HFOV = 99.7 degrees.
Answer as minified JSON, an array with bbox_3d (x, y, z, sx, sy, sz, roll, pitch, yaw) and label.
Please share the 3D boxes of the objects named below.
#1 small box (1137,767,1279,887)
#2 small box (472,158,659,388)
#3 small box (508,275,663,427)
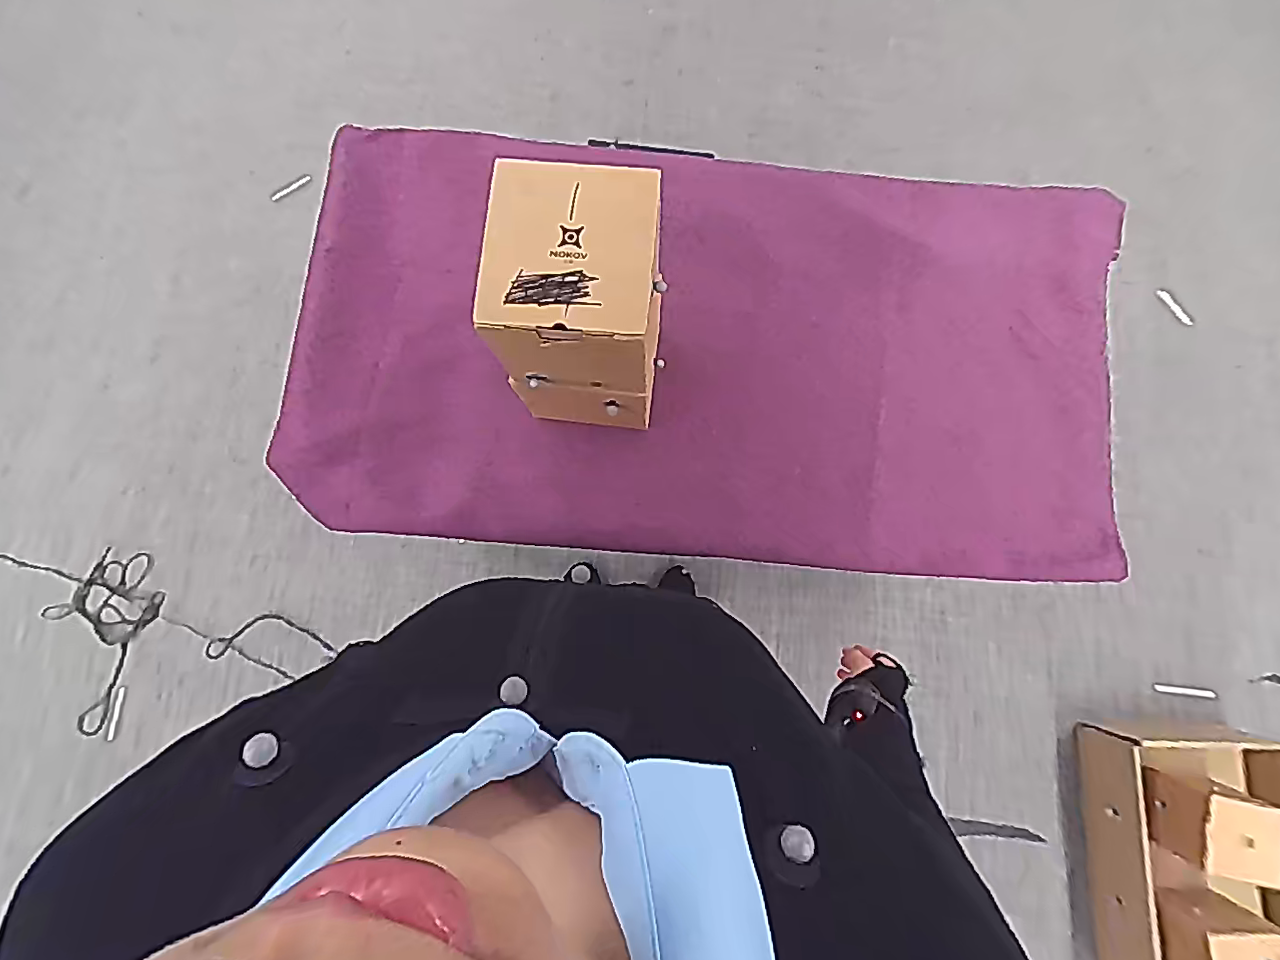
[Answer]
[{"bbox_3d":[1.333,0.802,1.267,0.179,0.176,0.168,11,83,2],"label":"small box"},{"bbox_3d":[-0.067,-0.209,0.590,0.168,0.176,0.179,5,81,1],"label":"small box"},{"bbox_3d":[-0.066,-0.177,0.752,0.179,0.176,0.168,6,81,2],"label":"small box"}]
